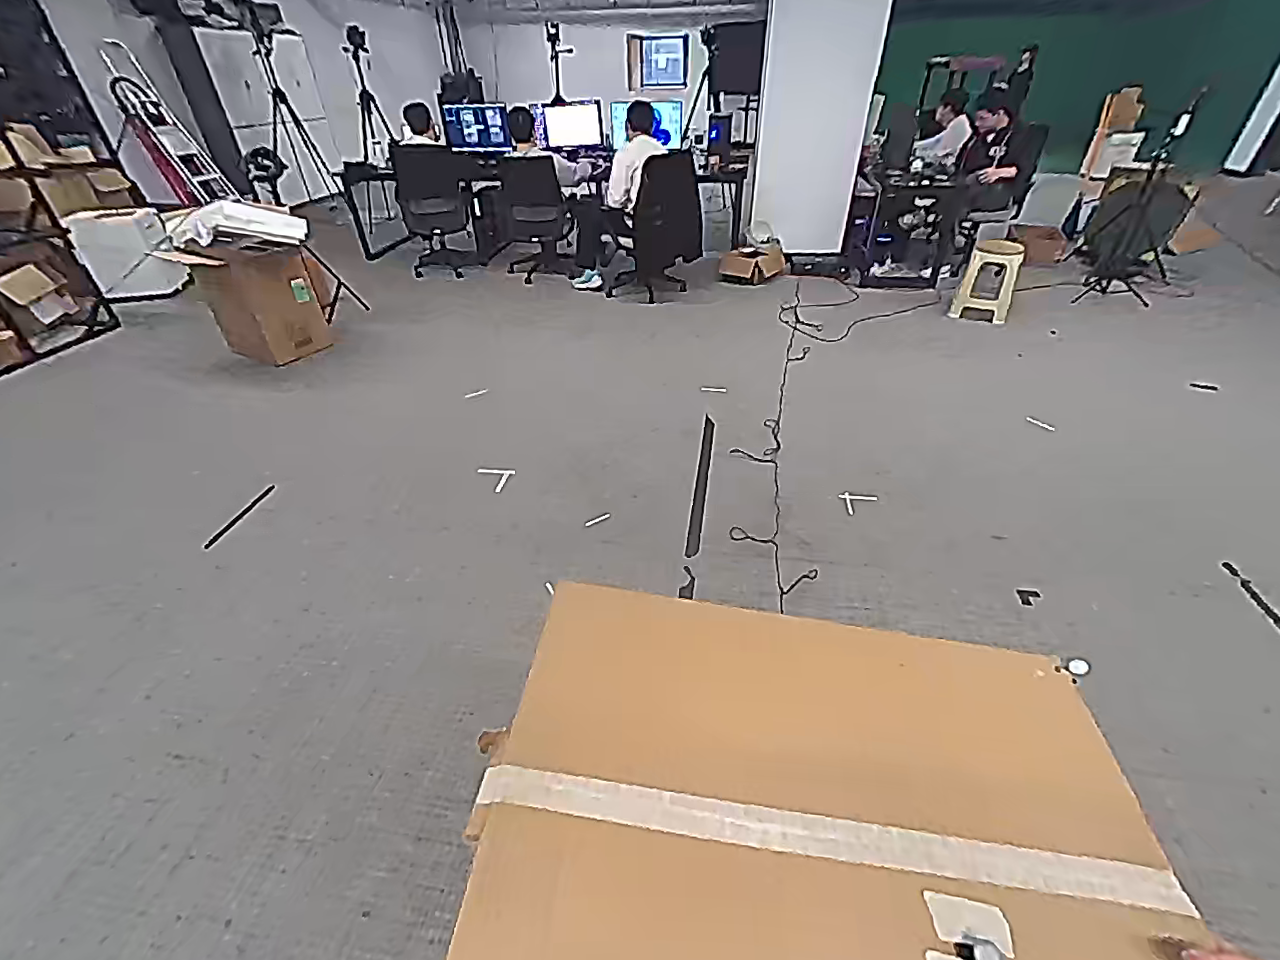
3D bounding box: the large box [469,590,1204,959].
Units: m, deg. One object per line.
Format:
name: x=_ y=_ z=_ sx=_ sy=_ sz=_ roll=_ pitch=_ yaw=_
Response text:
large box: x=0.101 y=0.328 z=0.424 sx=0.408 sy=0.320 sz=0.320 roll=9 pitch=41 yaw=1
